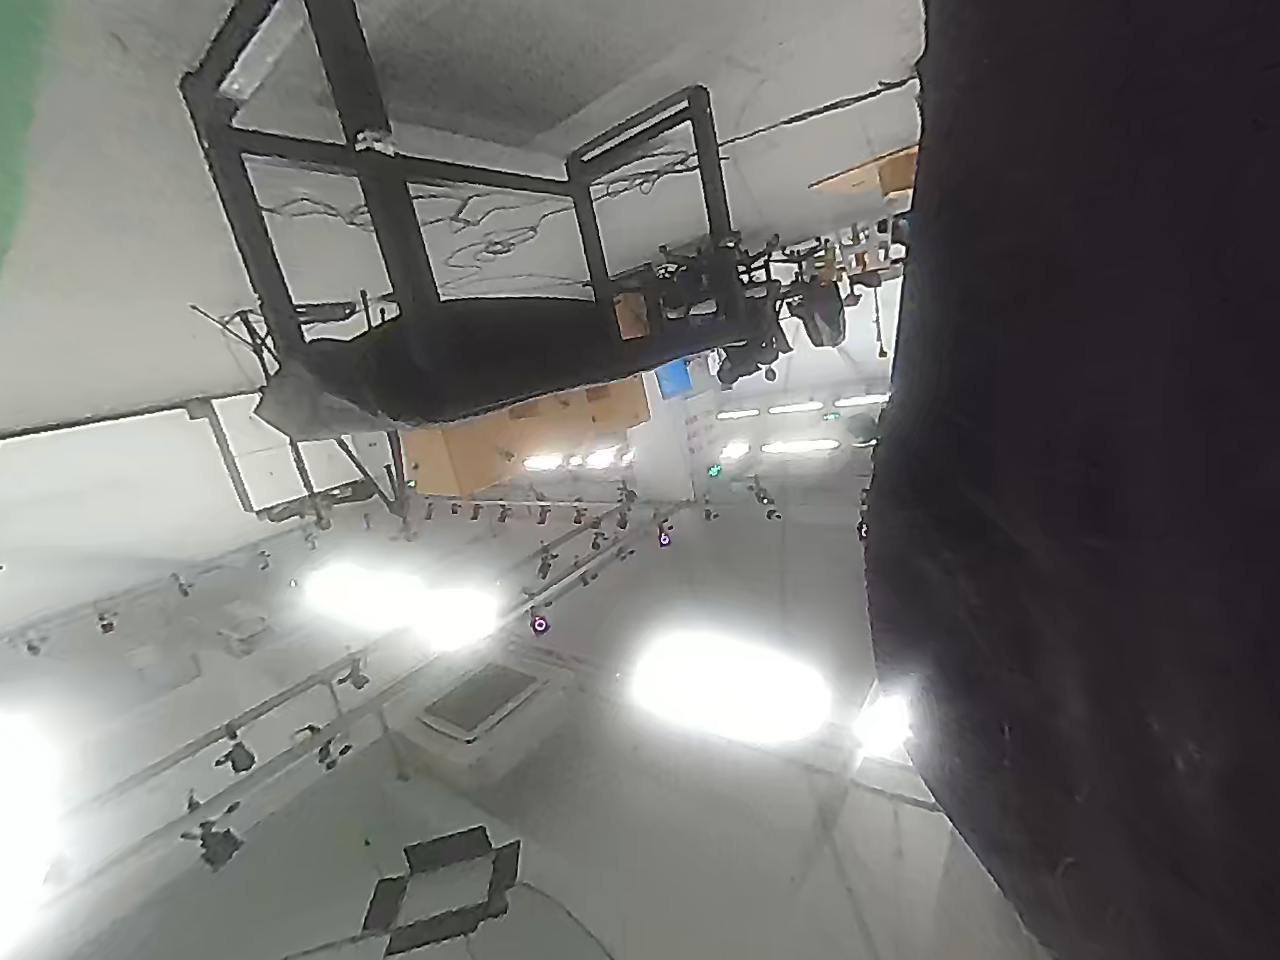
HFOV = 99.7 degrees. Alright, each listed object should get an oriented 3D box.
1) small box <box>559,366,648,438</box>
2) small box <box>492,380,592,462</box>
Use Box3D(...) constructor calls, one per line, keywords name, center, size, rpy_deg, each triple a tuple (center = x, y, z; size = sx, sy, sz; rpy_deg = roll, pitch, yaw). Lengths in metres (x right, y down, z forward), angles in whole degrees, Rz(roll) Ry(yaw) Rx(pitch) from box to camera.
Box3D(name="small box", center=(-0.105, -0.222, 1.522), size=(0.179, 0.176, 0.168), rpy_deg=(-1, -163, 36))
Box3D(name="small box", center=(-0.246, -0.148, 1.339), size=(0.179, 0.176, 0.168), rpy_deg=(-1, -163, 38))
